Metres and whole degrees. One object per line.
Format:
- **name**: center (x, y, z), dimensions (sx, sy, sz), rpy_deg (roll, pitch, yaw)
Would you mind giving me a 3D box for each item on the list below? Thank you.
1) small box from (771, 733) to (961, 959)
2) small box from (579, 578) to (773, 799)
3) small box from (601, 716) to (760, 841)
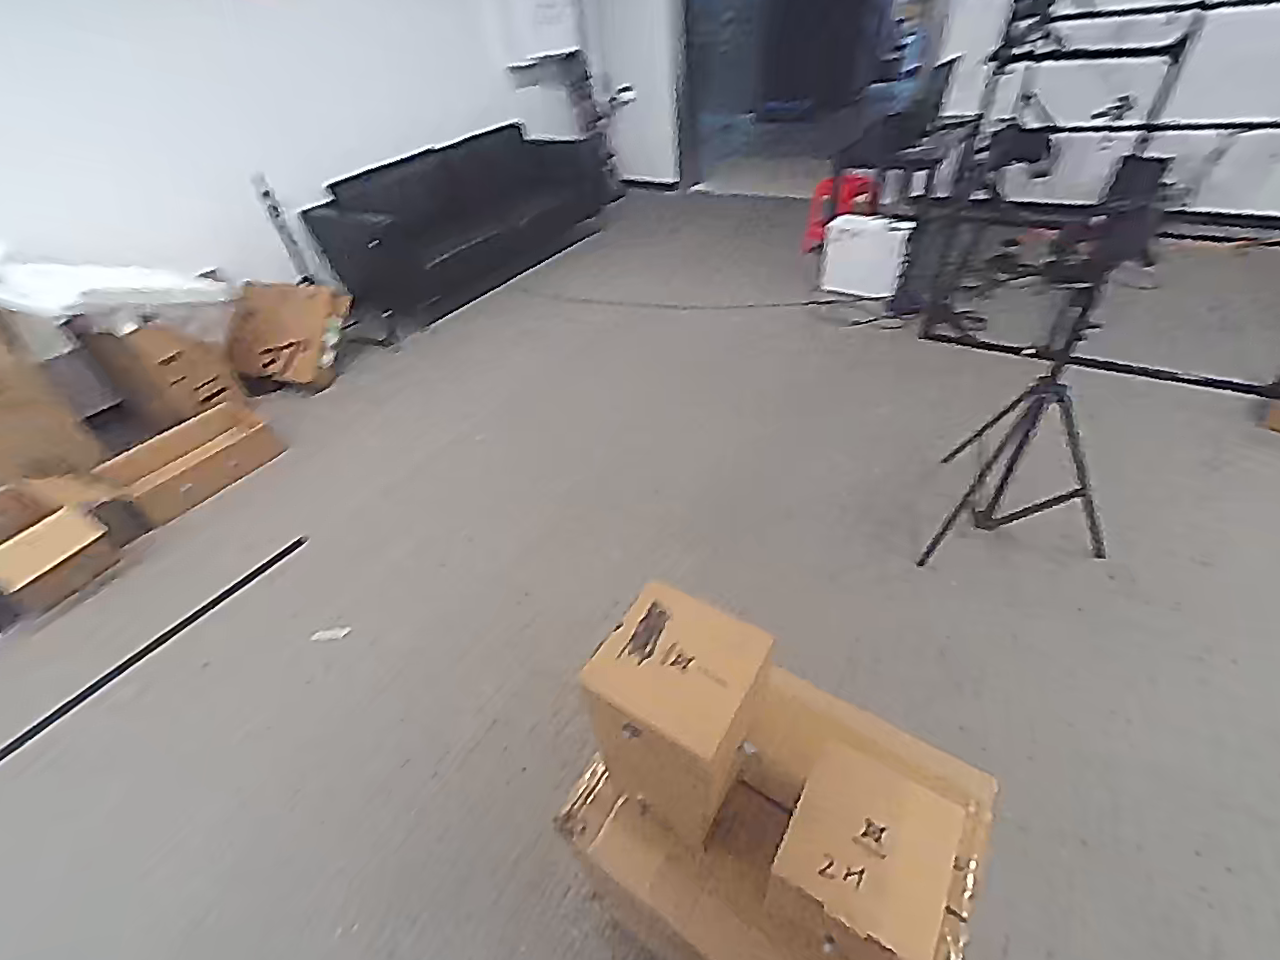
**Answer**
- **small box**: center (0.269, 0.463, 0.670), dimensions (0.168, 0.176, 0.179), rpy_deg (20, 49, 30)
- **small box**: center (0.050, 0.262, 0.684), dimensions (0.179, 0.176, 0.168), rpy_deg (21, 49, 28)
- **small box**: center (0.066, 0.381, 0.796), dimensions (0.168, 0.176, 0.179), rpy_deg (20, 50, 29)
